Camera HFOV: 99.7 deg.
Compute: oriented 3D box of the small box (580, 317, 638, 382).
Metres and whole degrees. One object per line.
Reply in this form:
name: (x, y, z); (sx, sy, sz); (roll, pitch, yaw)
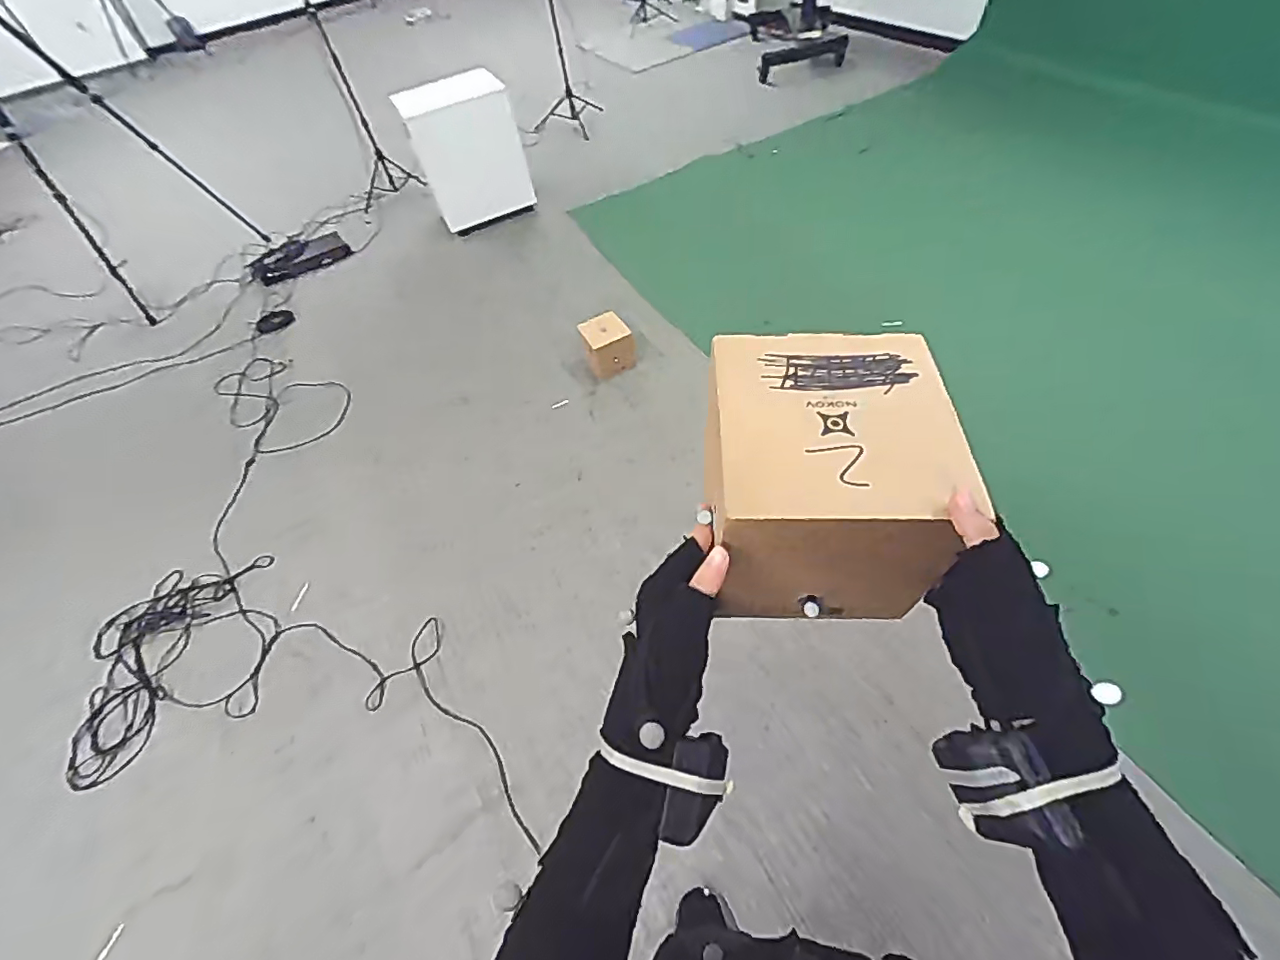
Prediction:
small box: (-0.121, -0.515, 2.171); (0.168, 0.176, 0.179); (-26, 54, -12)
